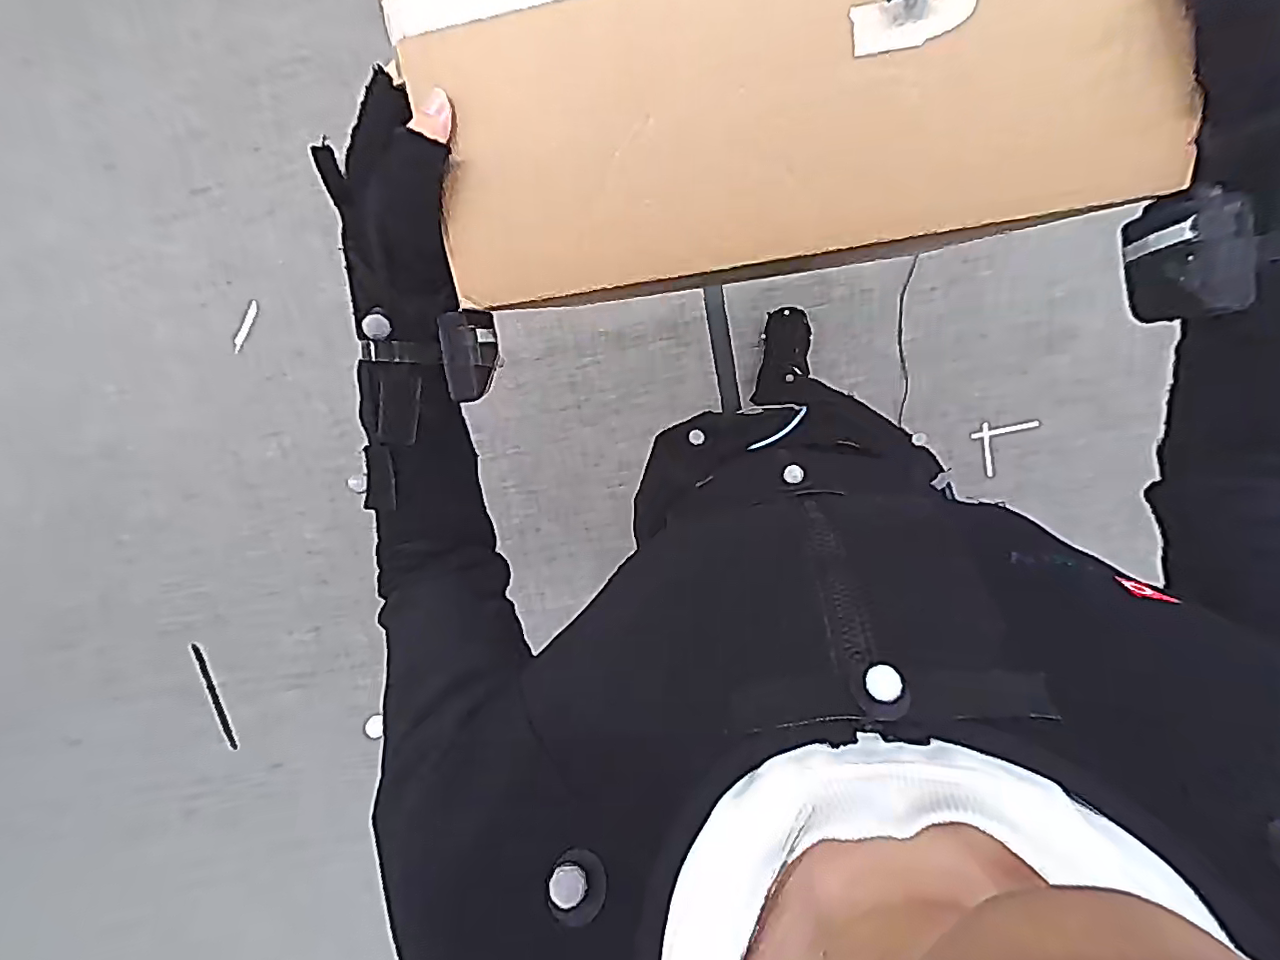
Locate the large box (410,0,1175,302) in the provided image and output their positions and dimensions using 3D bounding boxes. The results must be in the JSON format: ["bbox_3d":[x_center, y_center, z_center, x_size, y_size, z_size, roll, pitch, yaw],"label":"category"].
[{"bbox_3d":[0.078,-0.333,0.423,0.408,0.320,0.320,-7,108,9],"label":"large box"}]
